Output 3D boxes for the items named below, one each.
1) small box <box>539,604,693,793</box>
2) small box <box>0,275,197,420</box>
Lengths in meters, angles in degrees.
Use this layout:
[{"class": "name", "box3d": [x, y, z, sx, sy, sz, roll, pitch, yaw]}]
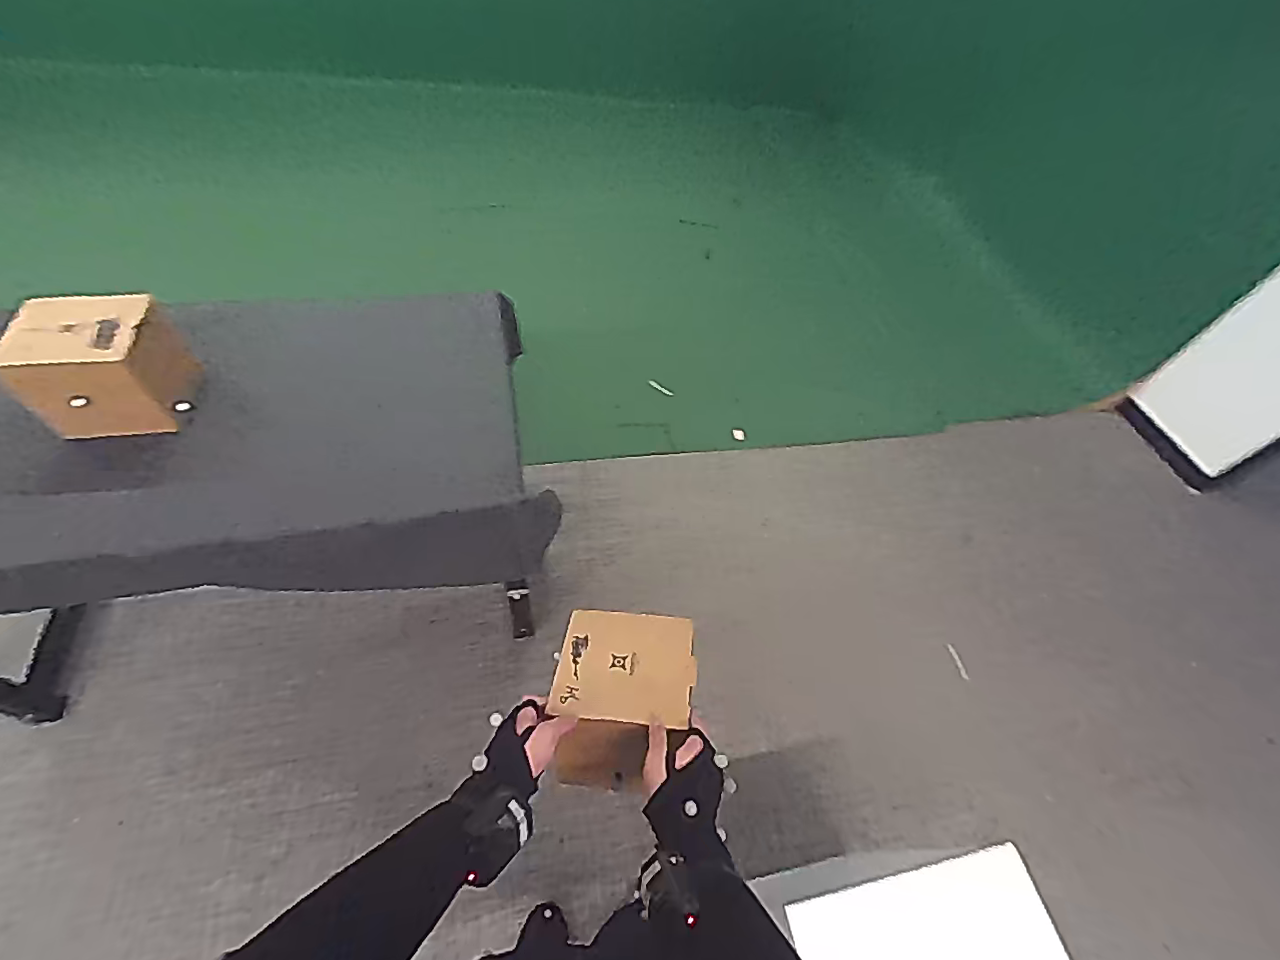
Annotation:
[{"class": "small box", "box3d": [-0.027, 0.295, 0.731, 0.179, 0.176, 0.168, 6, 35, 4]}, {"class": "small box", "box3d": [-0.889, -0.215, 0.897, 0.179, 0.176, 0.168, -4, 55, -13]}]
